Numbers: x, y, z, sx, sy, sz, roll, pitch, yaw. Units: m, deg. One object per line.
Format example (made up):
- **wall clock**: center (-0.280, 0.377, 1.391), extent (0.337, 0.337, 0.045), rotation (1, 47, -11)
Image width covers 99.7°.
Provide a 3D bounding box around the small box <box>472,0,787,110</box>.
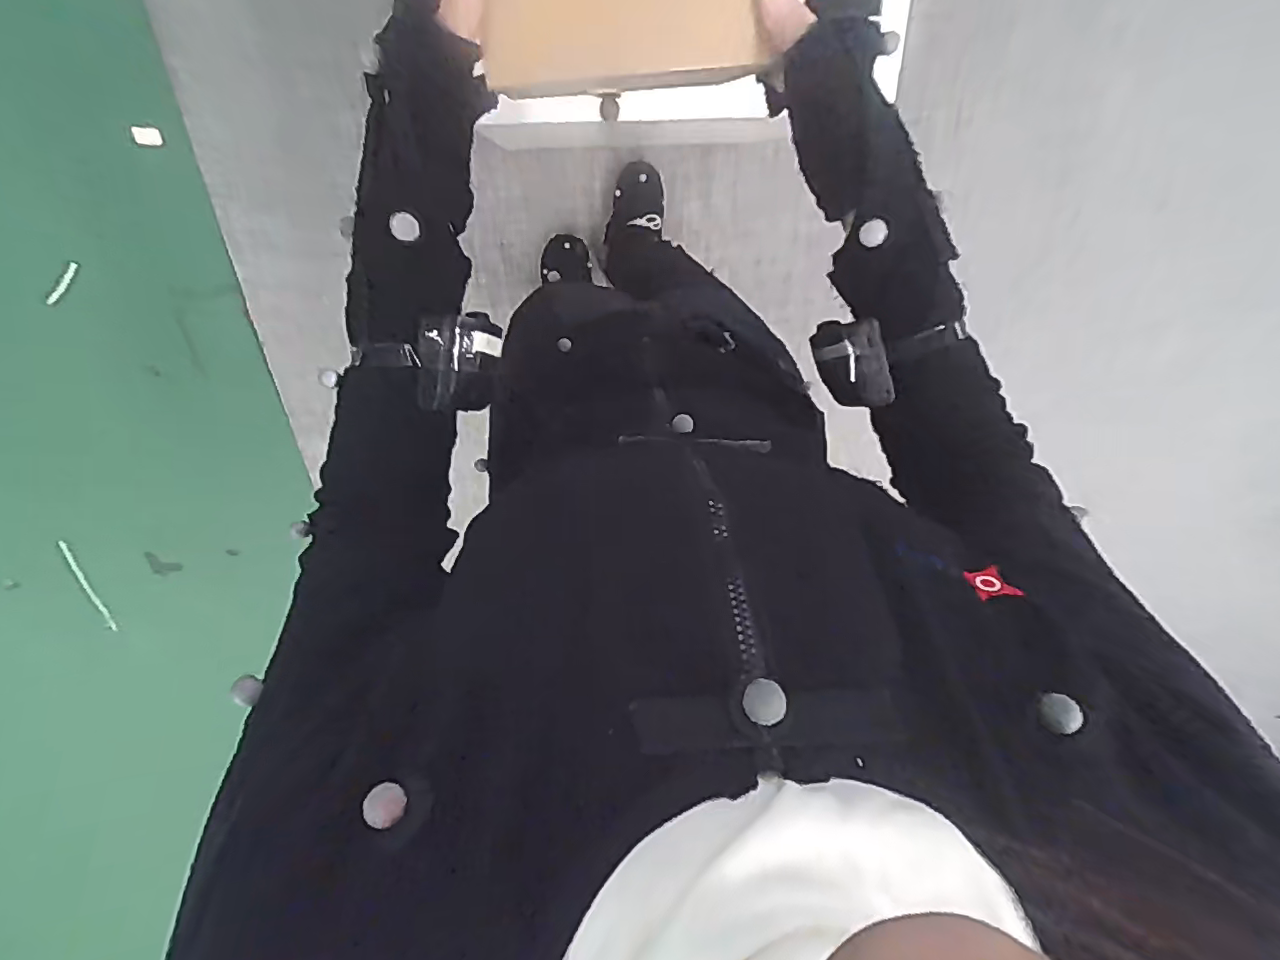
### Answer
- **small box**: center (-0.015, -0.333, 0.318), extent (0.168, 0.176, 0.179), rotation (-7, 123, -2)
